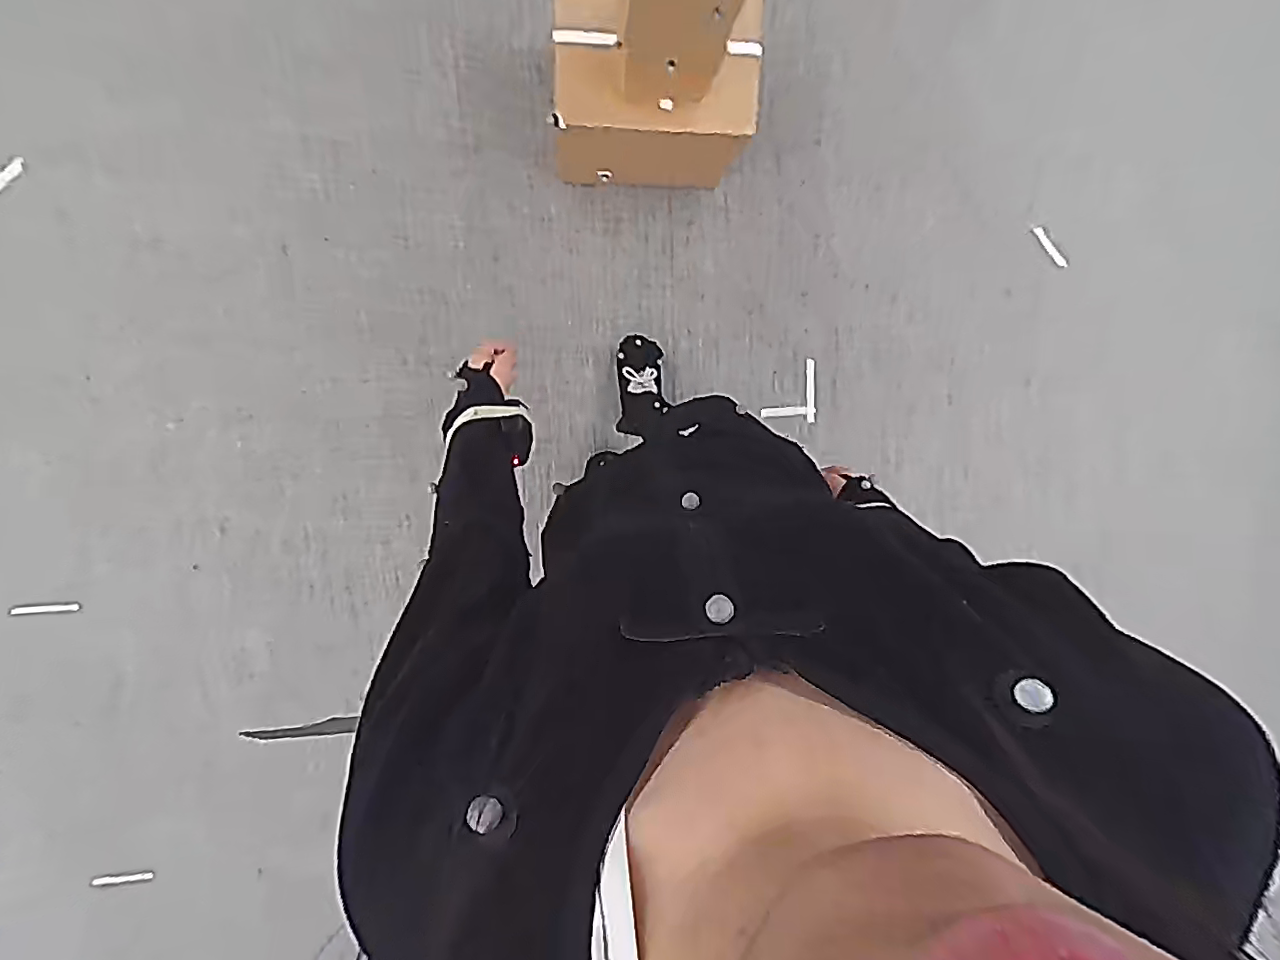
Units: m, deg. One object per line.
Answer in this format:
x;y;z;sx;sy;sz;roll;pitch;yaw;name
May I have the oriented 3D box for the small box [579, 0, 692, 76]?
-0.016;-0.848;0.954;0.179;0.176;0.168;-8;102;-7;small box
